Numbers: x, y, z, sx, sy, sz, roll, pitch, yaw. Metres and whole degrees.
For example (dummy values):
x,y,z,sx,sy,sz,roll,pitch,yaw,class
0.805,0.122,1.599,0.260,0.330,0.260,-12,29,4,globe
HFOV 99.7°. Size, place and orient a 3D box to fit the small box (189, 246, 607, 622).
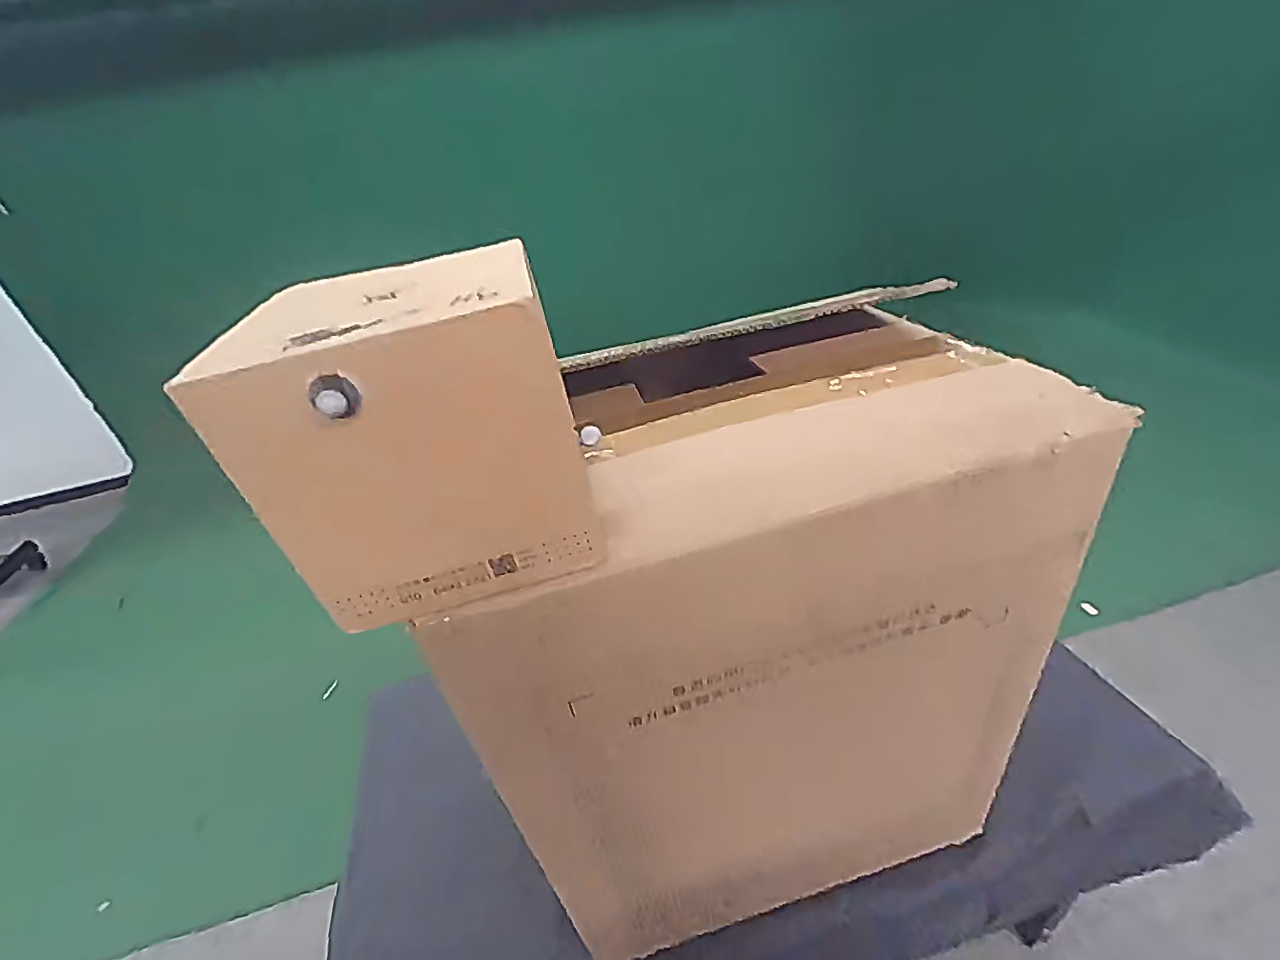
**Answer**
x,y,z,sx,sy,sz,roll,pitch,yaw,class
-0.127,-0.040,0.361,0.168,0.176,0.179,-16,33,-4,small box
